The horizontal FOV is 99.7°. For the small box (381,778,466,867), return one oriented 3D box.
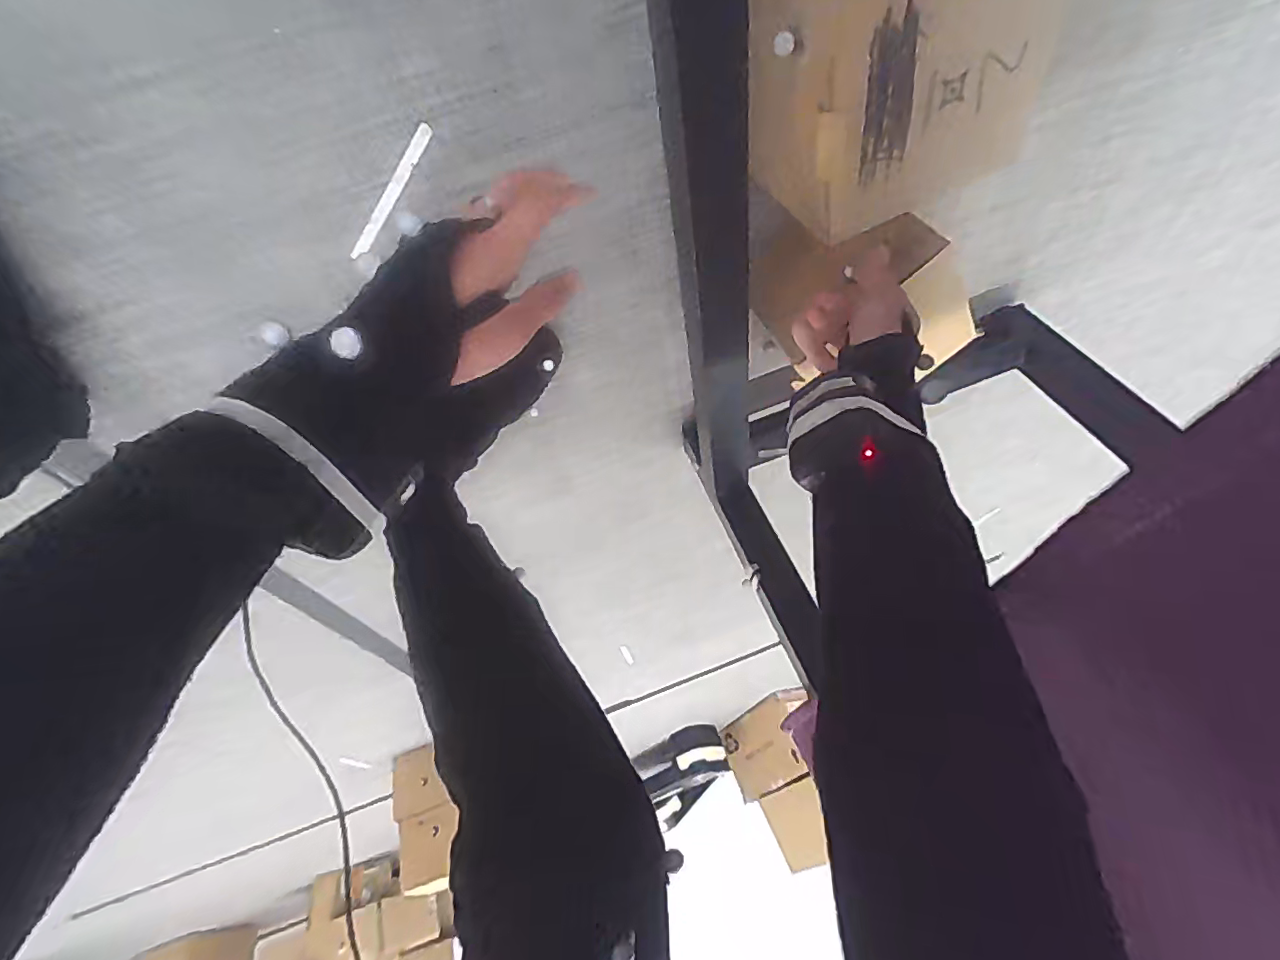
[{"bbox_3d":[-0.596,0.942,1.494,0.168,0.176,0.179,-17,145,-5],"label":"small box"}]

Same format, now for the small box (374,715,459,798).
[{"bbox_3d":[-0.648,0.810,1.575,0.179,0.176,0.168,-20,146,-2],"label":"small box"}]

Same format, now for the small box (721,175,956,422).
[{"bbox_3d":[0.225,-0.206,0.628,0.179,0.176,0.168,-36,143,20],"label":"small box"}]
